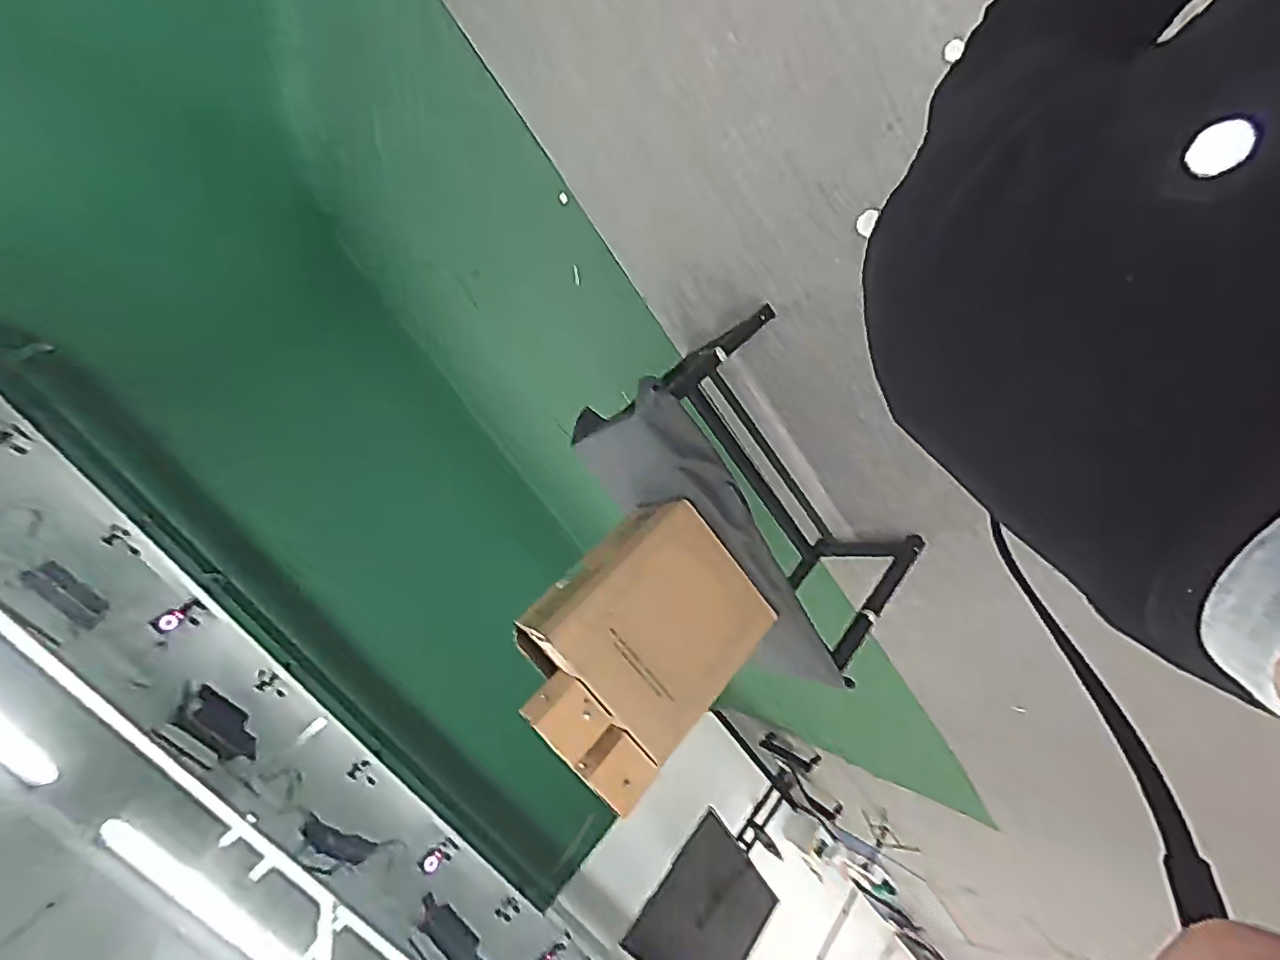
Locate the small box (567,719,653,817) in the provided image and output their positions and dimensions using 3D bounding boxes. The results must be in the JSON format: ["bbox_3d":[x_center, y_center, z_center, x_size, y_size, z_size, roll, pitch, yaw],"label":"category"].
[{"bbox_3d":[-0.093,0.854,1.624,0.179,0.176,0.168,51,154,-13],"label":"small box"}]

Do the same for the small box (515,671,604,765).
[{"bbox_3d":[-0.233,0.688,1.586,0.168,0.176,0.179,52,153,-12],"label":"small box"}]
